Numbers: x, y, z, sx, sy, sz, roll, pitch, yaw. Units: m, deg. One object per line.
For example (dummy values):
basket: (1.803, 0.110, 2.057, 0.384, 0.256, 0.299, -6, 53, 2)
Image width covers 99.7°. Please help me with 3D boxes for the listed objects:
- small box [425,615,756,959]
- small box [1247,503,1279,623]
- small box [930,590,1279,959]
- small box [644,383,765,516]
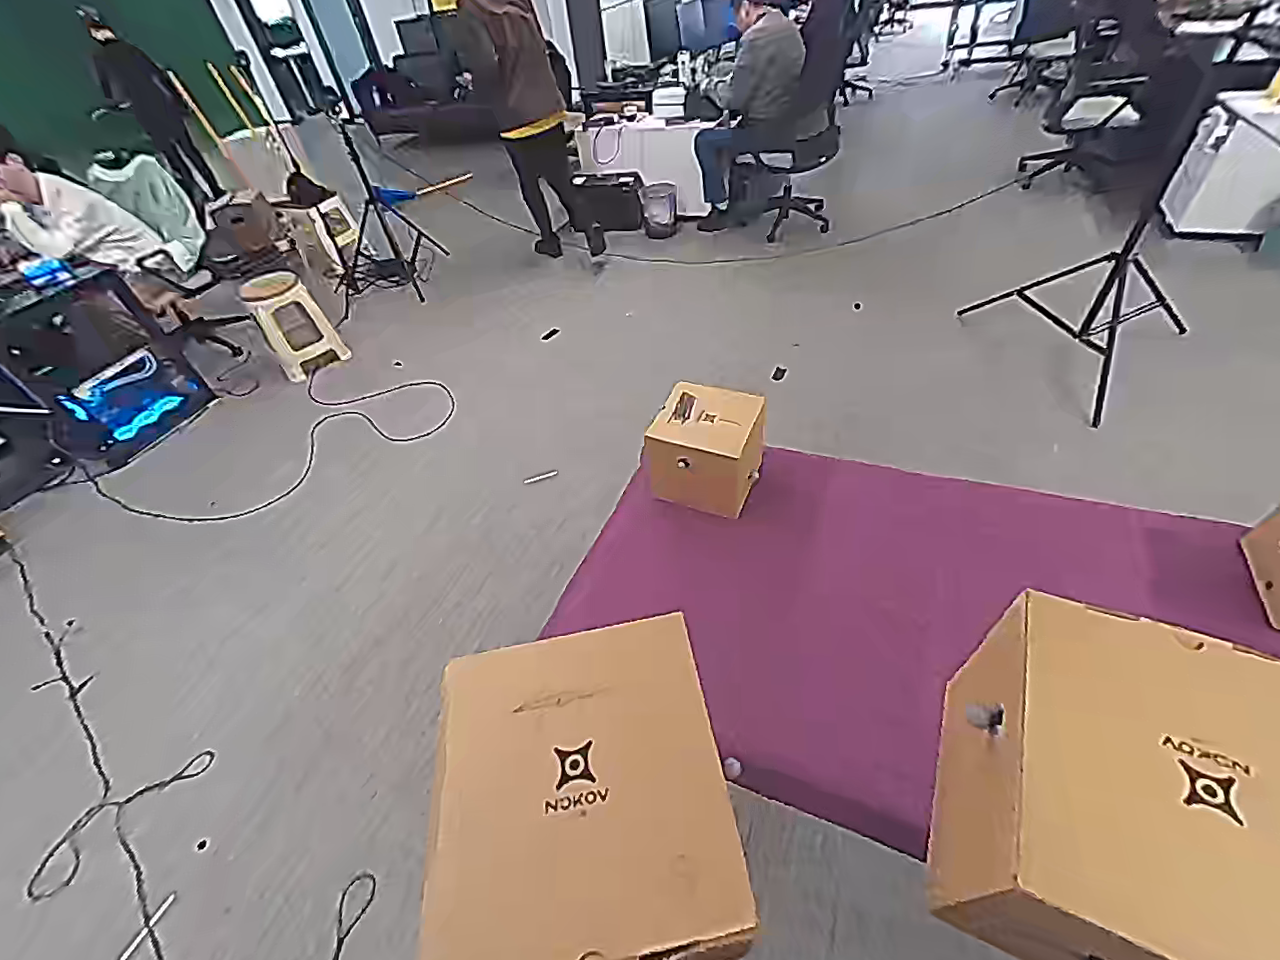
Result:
small box: (-0.028, 0.224, 0.369, 0.168, 0.176, 0.179, -11, 45, -4)
small box: (0.981, 0.111, 0.721, 0.179, 0.176, 0.168, 13, 50, 20)
small box: (0.295, 0.205, 0.333, 0.168, 0.176, 0.179, 15, 52, 22)
small box: (0.125, -0.056, 1.022, 0.179, 0.176, 0.168, 15, 52, 21)
